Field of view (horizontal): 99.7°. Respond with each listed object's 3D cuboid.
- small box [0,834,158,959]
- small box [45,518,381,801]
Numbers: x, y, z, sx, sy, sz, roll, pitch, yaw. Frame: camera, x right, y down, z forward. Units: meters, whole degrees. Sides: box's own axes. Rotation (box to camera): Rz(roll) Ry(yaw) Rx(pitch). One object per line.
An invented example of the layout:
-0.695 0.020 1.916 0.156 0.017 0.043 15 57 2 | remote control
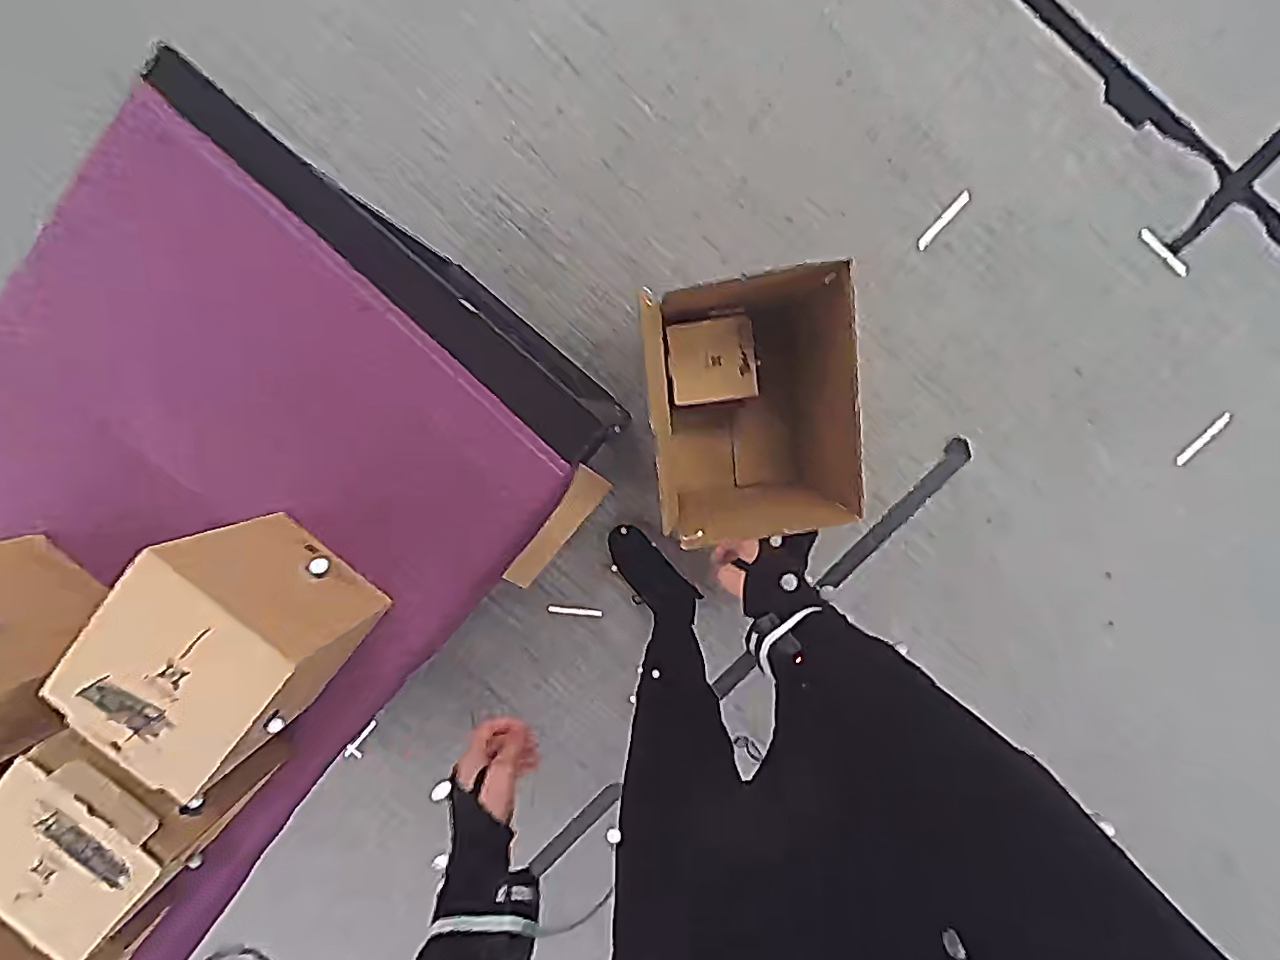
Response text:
-0.722 0.565 0.617 0.168 0.176 0.179 41 97 -4 | small box
-0.407 0.163 0.549 0.168 0.176 0.179 40 97 -2 | small box
